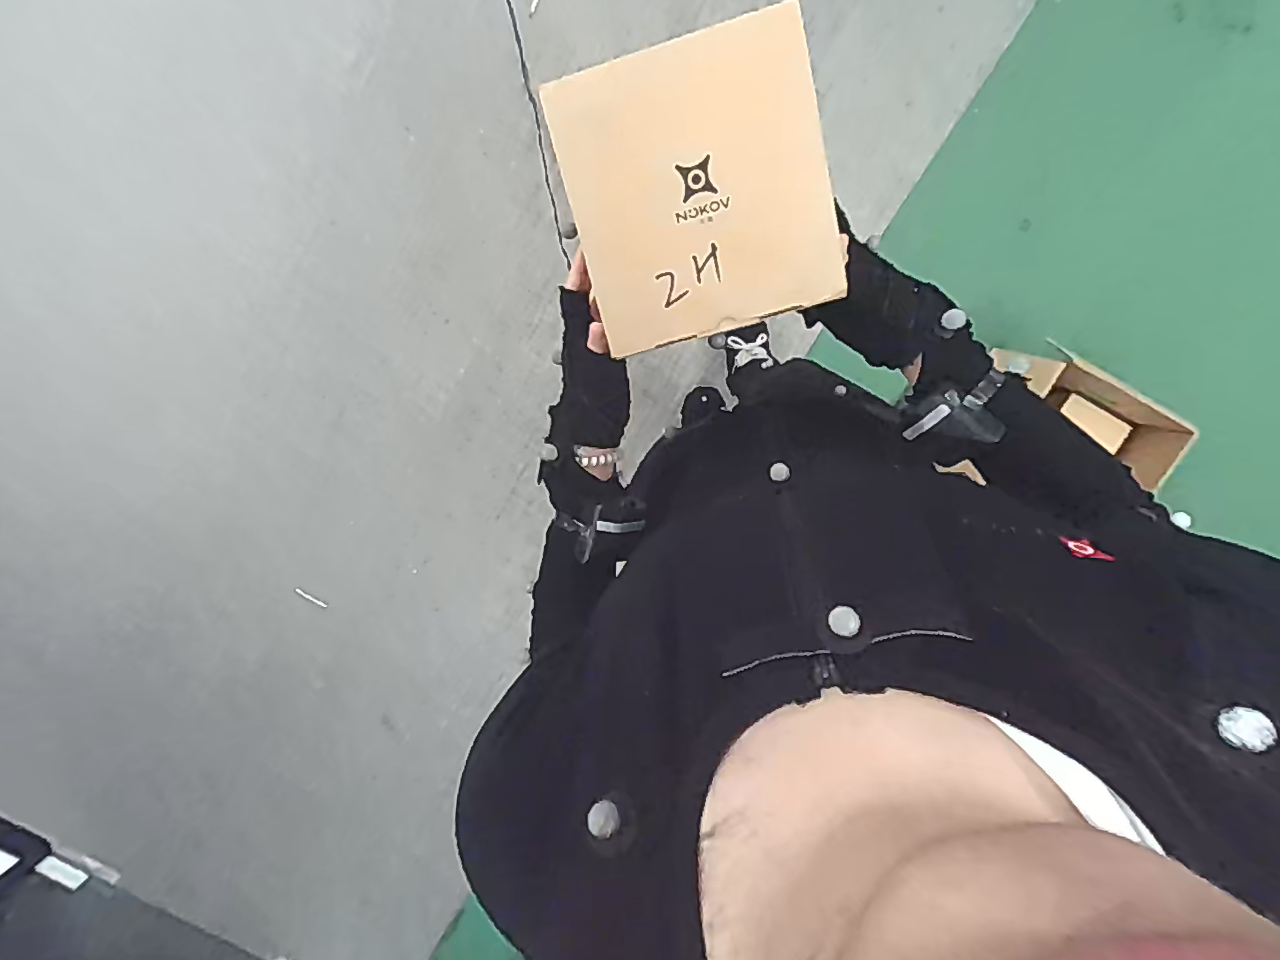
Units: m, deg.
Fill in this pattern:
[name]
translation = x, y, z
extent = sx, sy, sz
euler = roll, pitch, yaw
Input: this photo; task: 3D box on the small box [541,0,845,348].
[small box]
translation = 0.040, -0.209, 0.421
extent = 0.168, 0.176, 0.179
euler = -14, 104, 7
